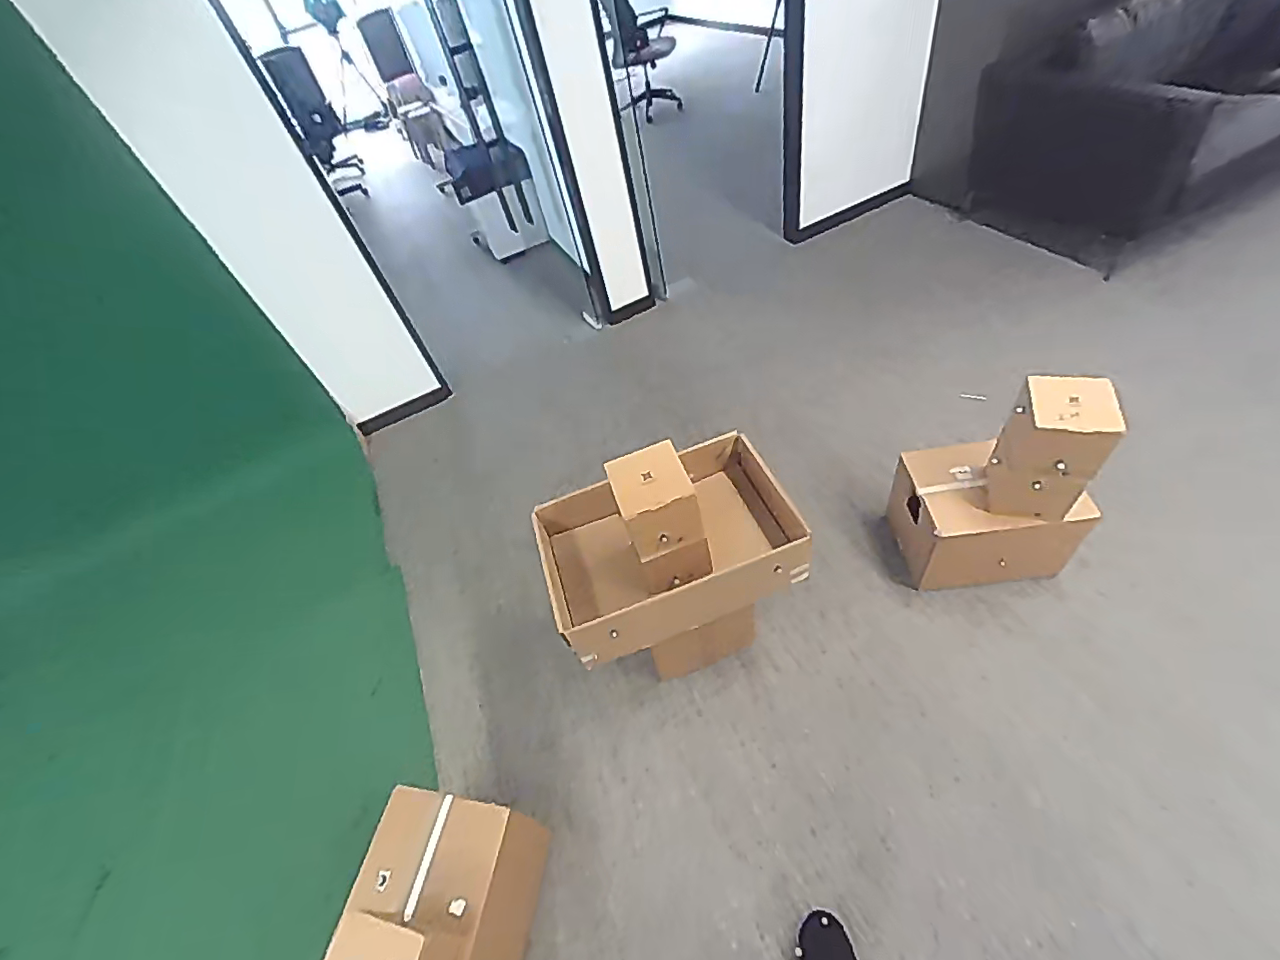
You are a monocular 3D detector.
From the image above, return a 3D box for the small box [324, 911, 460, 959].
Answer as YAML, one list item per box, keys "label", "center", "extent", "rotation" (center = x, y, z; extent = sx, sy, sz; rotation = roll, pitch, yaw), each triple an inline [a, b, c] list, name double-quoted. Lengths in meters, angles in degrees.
- label: "small box"
  center: [-0.456, 0.902, 0.969]
  extent: [0.179, 0.176, 0.168]
  rotation: [4, 49, 17]

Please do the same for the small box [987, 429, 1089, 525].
- label: "small box"
  center: [1.021, -0.008, 1.404]
  extent: [0.168, 0.176, 0.179]
  rotation: [7, 52, 20]

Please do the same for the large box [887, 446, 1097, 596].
- label: "large box"
  center: [1.014, 0.122, 1.624]
  extent: [0.408, 0.320, 0.320]
  rotation: [-9, 47, 8]

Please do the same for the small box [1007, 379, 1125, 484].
- label: "small box"
  center: [0.994, -0.115, 1.280]
  extent: [0.168, 0.176, 0.179]
  rotation: [6, 53, 20]

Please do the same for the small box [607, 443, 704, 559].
- label: "small box"
  center: [0.037, 0.050, 1.240]
  extent: [0.168, 0.176, 0.179]
  rotation: [-20, 49, -3]
